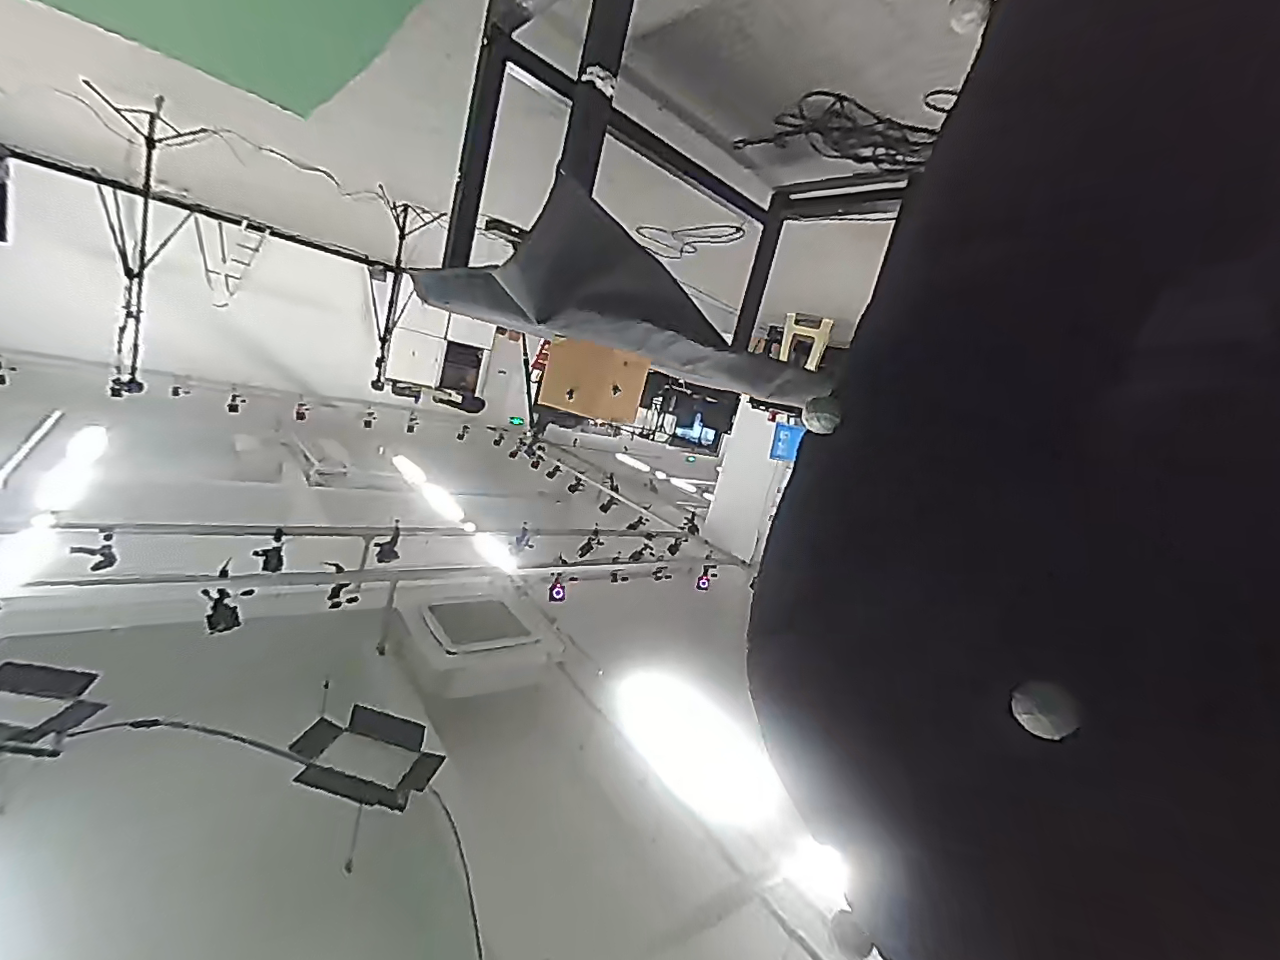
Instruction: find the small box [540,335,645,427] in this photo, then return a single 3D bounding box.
[{"bbox_3d":[-0.105,-0.232,1.269,0.179,0.176,0.168,22,-169,29],"label":"small box"}]
